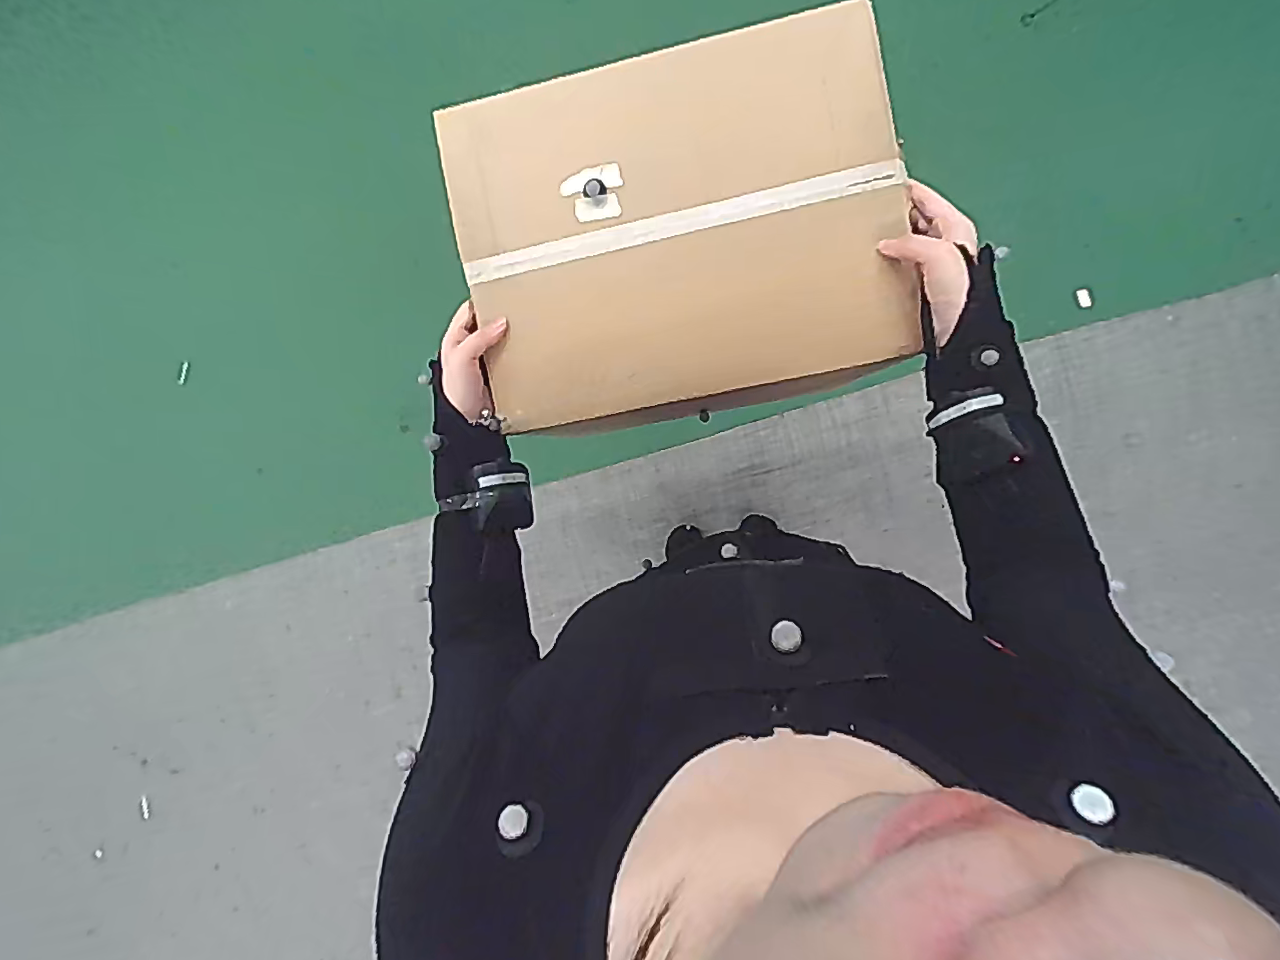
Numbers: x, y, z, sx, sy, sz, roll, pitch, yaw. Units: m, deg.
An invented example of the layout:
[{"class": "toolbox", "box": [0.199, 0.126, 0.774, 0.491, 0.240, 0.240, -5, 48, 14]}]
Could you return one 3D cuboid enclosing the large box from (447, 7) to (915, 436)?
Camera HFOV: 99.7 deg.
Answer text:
[{"class": "large box", "box": [0.050, -0.245, 0.658, 0.408, 0.320, 0.320, -11, 93, 8]}]
